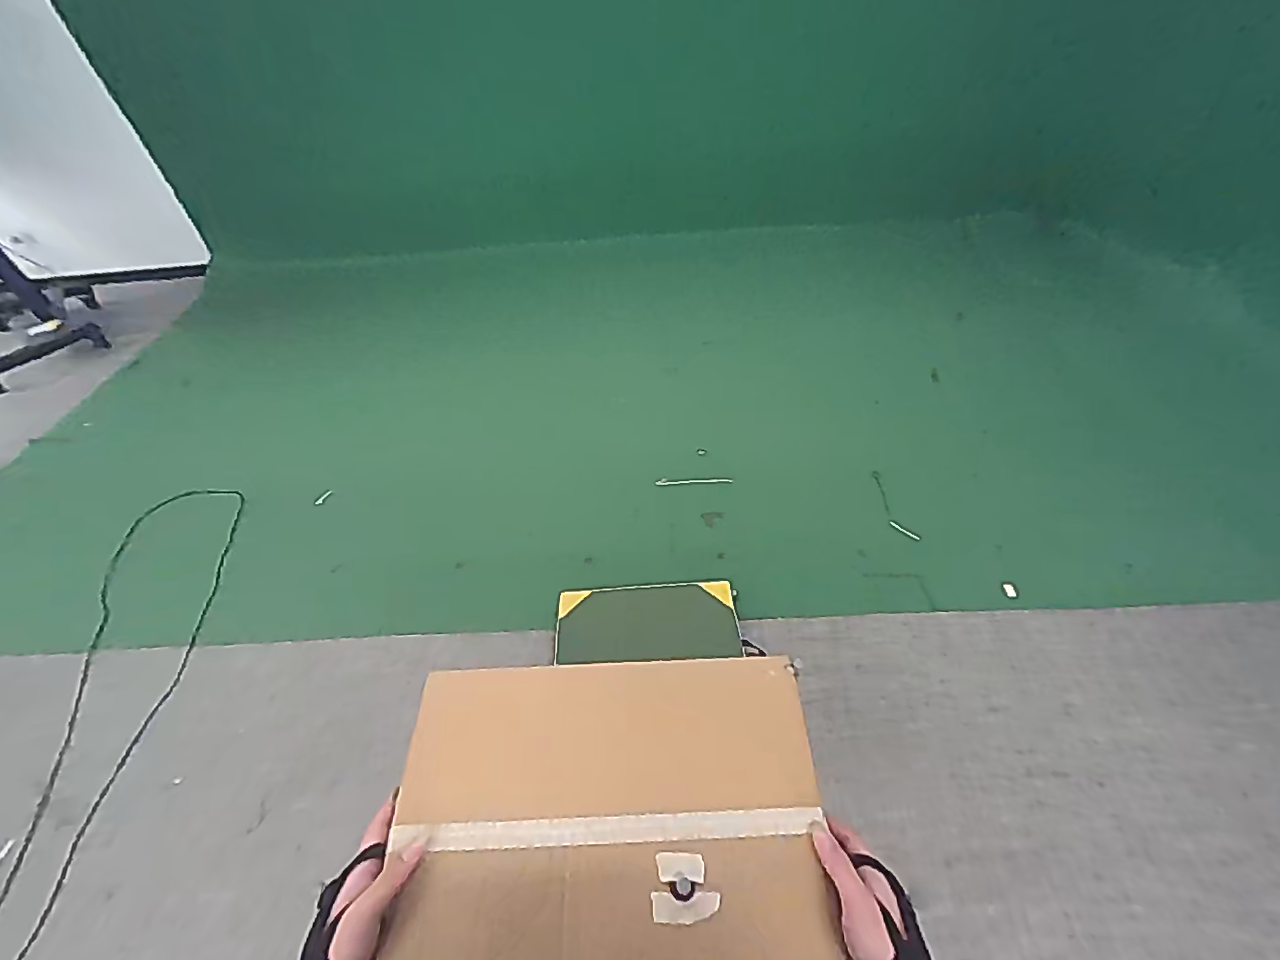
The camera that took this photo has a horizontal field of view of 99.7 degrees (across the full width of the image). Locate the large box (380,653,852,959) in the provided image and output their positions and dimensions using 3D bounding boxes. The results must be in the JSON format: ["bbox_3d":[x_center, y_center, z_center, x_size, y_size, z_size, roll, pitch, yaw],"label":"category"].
[{"bbox_3d":[-0.024,0.420,0.631,0.408,0.320,0.320,-2,51,0],"label":"large box"}]
